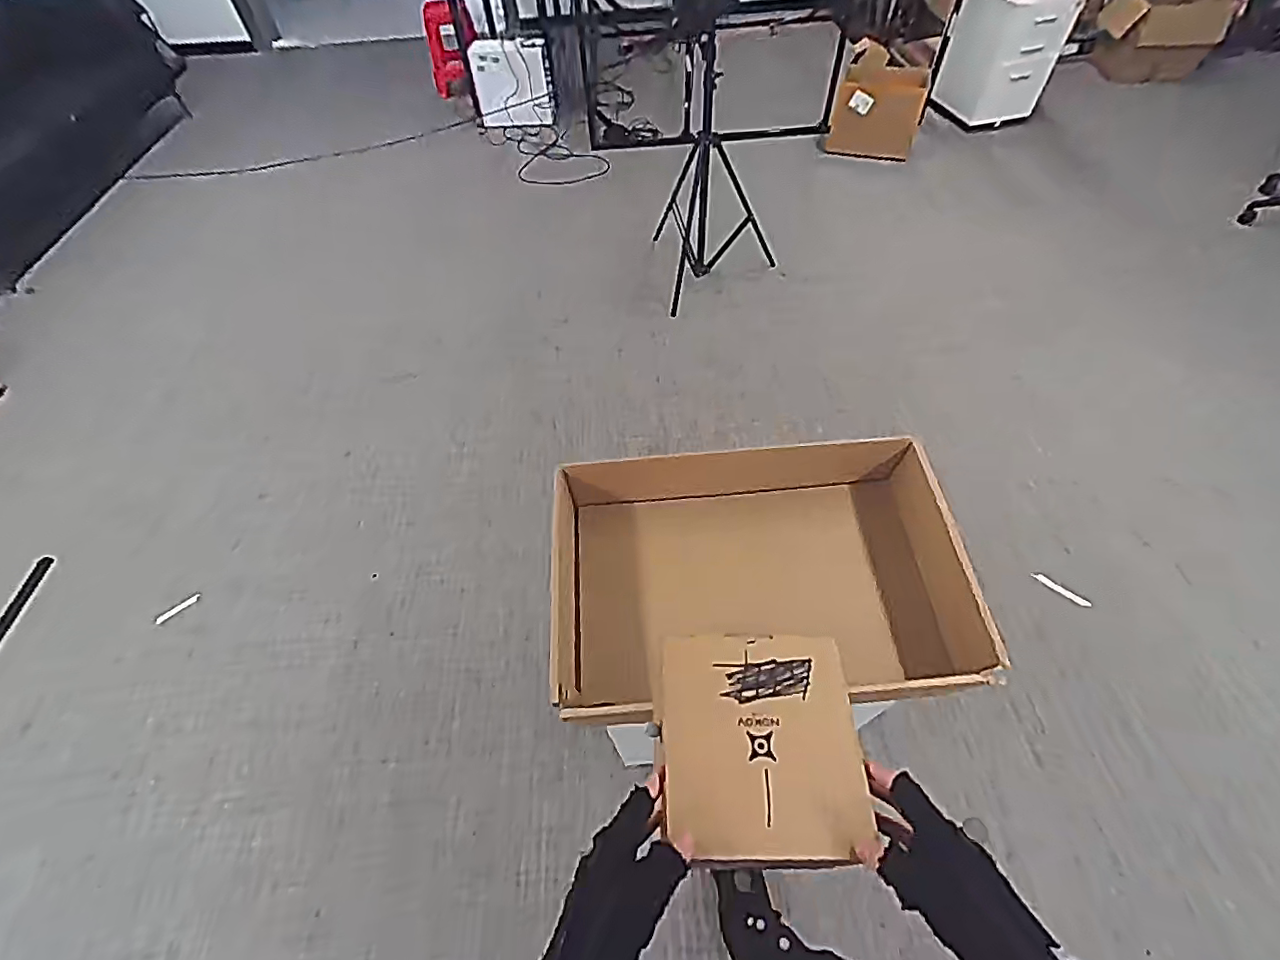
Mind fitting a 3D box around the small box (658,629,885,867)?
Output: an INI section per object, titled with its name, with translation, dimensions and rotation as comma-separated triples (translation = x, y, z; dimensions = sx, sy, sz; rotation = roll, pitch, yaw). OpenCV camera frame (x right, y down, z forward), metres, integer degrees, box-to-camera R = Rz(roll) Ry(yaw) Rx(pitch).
[small box]
translation = 0.104, 0.261, 0.523
dimensions = 0.168, 0.176, 0.179
rotation = 1, 52, -1
